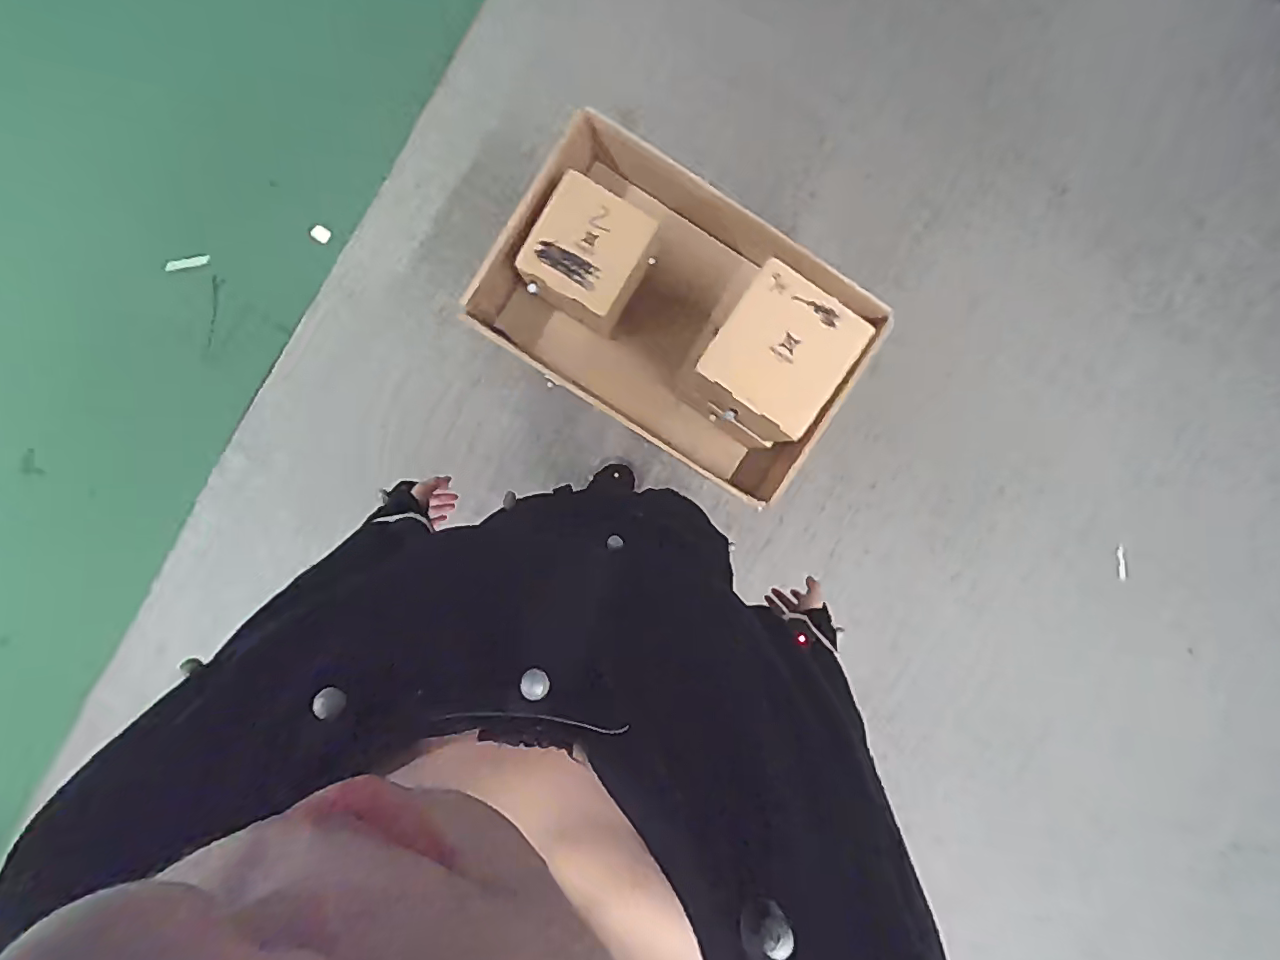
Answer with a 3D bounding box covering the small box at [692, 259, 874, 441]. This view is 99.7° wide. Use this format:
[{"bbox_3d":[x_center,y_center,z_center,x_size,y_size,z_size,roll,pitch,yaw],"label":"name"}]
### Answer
[{"bbox_3d":[0.186,-0.169,0.767,0.168,0.176,0.179,35,93,-2],"label":"small box"}]
